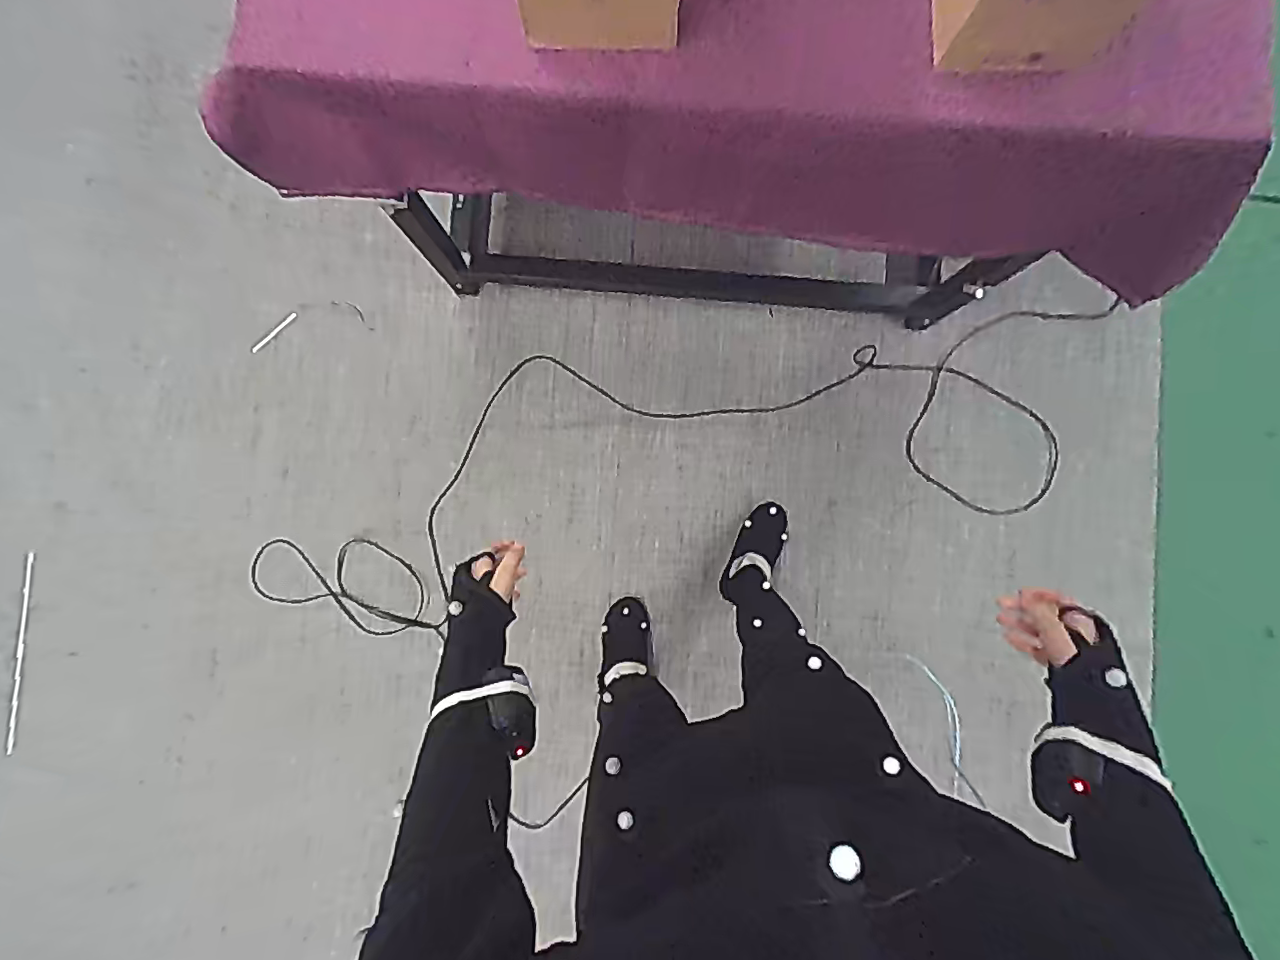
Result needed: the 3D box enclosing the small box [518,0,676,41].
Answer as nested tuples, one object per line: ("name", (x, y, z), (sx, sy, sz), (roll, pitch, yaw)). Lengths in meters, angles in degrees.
("small box", (-0.046, -0.589, 0.545), (0.179, 0.176, 0.168), (1, 88, 1))
